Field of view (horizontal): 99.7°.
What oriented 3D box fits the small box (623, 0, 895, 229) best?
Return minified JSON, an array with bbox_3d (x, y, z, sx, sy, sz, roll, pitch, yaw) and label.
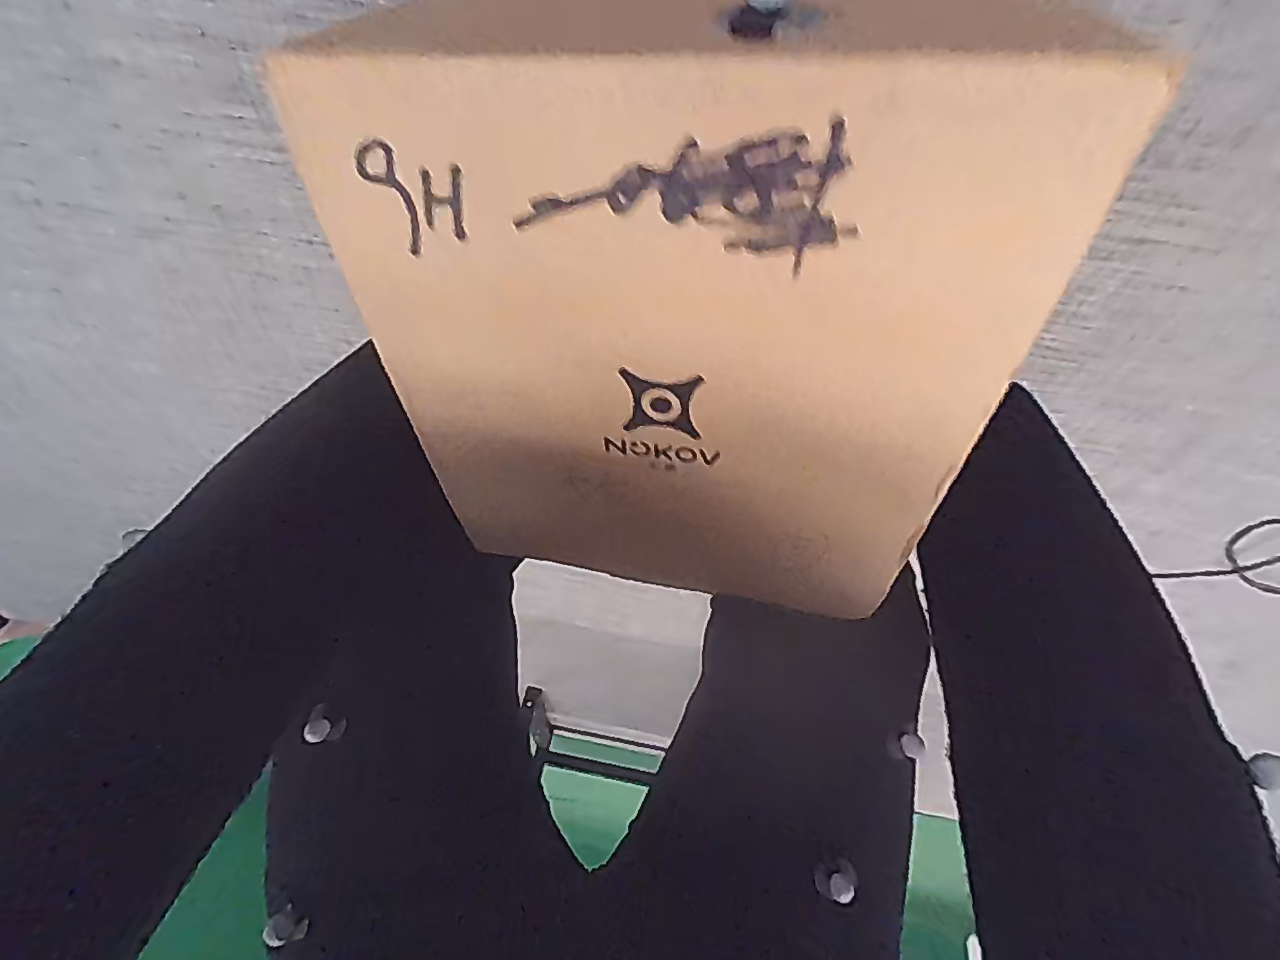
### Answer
[{"bbox_3d":[0.090,-0.316,0.415,0.168,0.176,0.179,6,139,13],"label":"small box"}]
